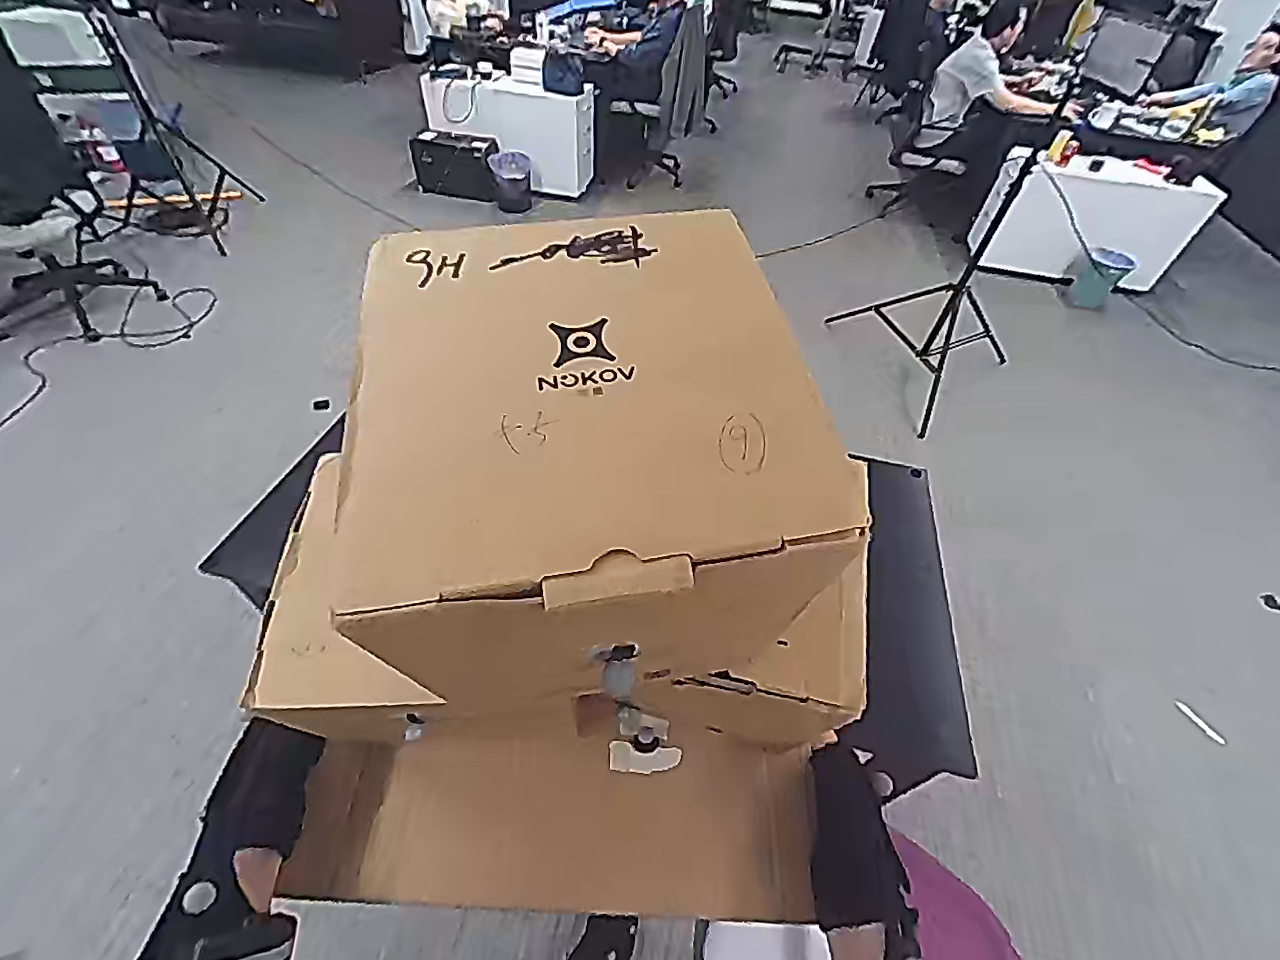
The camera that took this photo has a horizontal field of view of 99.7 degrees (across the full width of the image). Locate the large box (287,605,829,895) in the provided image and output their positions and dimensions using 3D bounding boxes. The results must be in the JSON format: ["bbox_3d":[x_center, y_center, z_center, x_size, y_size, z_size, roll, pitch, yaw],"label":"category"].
[{"bbox_3d":[-0.063,0.248,0.597,0.408,0.320,0.320,3,58,-2],"label":"large box"}]

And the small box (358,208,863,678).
[{"bbox_3d":[-0.021,-0.007,0.279,0.168,0.176,0.179,-7,59,-7],"label":"small box"}]

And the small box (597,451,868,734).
[{"bbox_3d":[0.063,0.079,0.422,0.168,0.176,0.179,13,56,6],"label":"small box"}]
